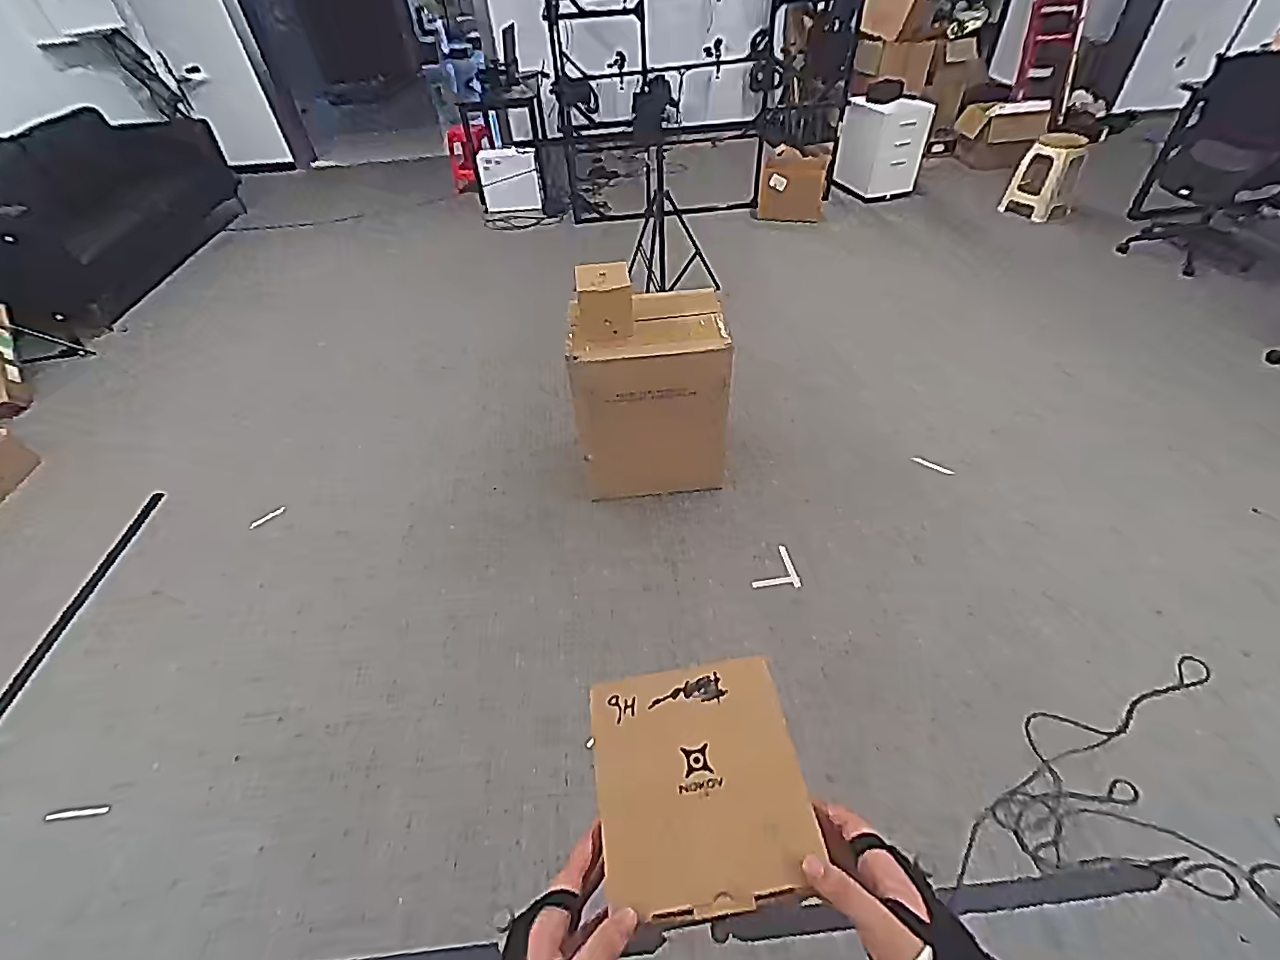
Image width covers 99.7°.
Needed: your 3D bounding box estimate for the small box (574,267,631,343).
[{"bbox_3d":[-0.121,-0.560,1.732,0.168,0.176,0.179,-7,46,-3],"label":"small box"}]
